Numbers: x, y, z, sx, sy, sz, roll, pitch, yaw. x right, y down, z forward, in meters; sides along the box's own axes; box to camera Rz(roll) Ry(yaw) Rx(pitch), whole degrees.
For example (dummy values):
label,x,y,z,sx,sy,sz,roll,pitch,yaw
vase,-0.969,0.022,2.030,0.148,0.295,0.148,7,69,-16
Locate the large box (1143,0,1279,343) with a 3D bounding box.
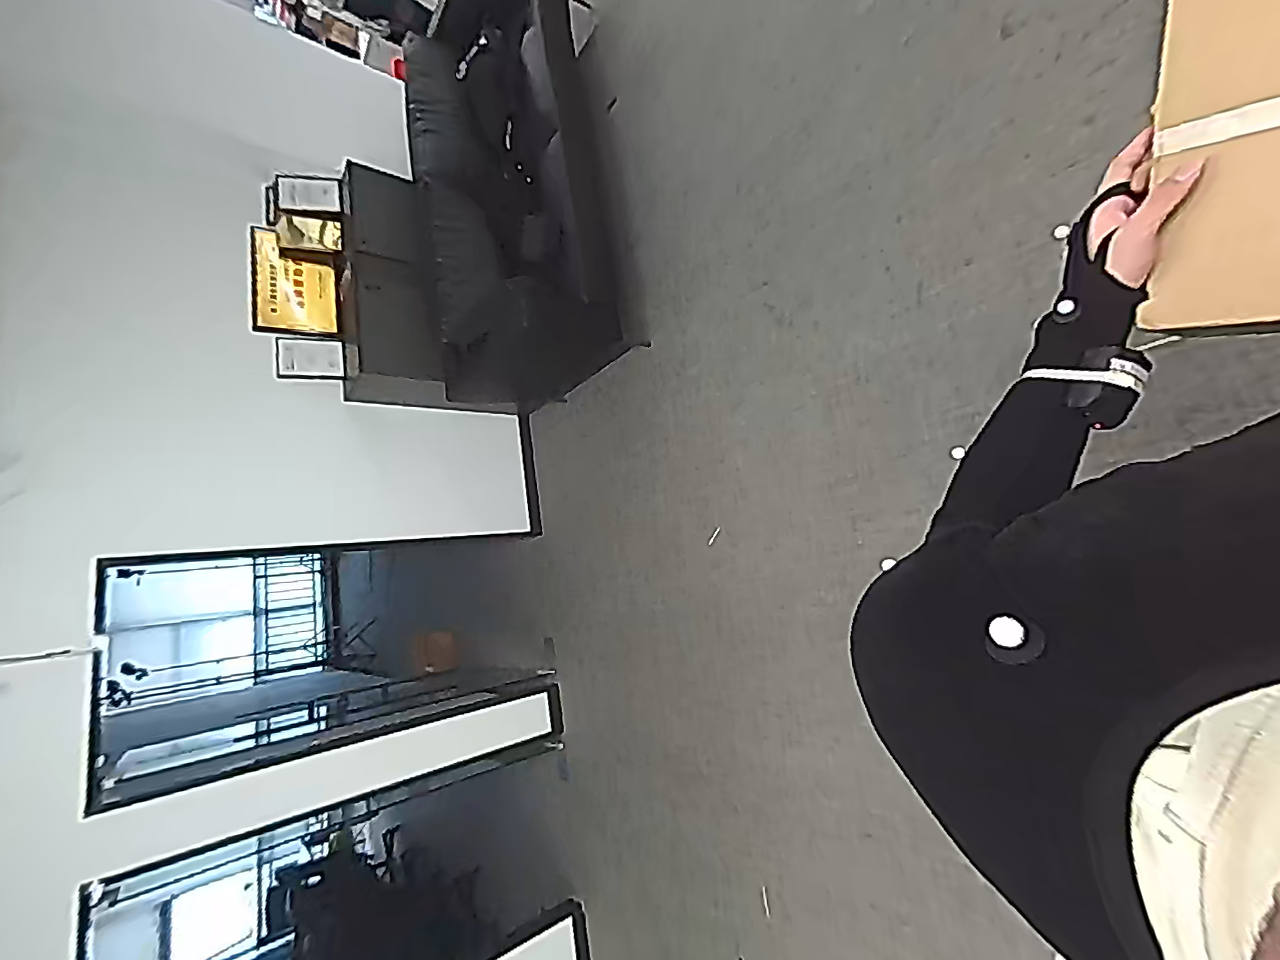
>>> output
label,x,y,z,sx,sy,sz,roll,pitch,yaw
large box,0.699,-0.292,0.428,0.408,0.320,0.320,8,104,49
